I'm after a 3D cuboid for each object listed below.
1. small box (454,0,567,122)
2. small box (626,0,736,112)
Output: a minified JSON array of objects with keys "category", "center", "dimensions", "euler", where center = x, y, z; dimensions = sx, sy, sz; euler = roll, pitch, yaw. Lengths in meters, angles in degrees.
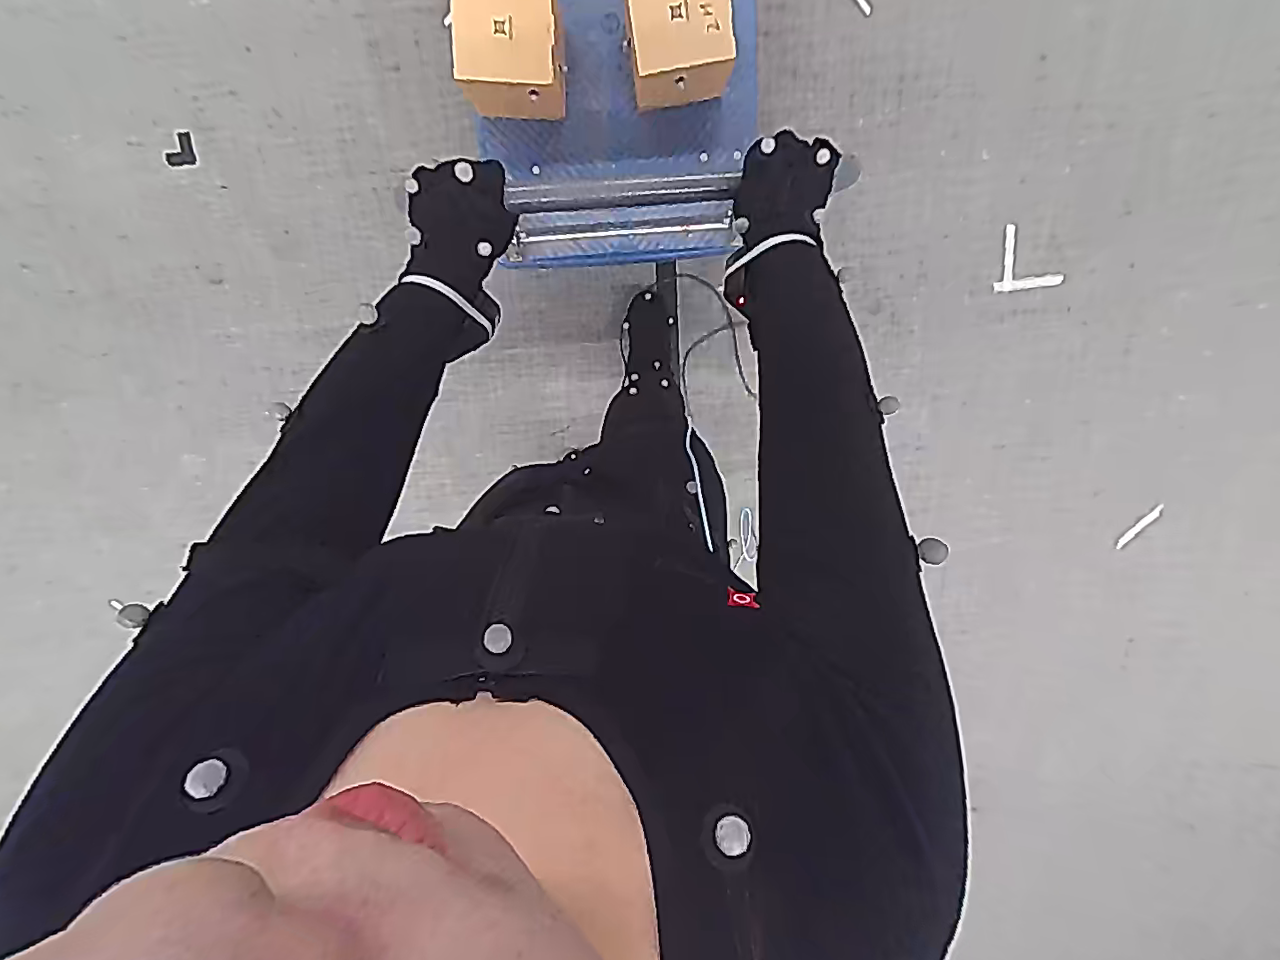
[{"category":"small box","center":[-0.234,-0.794,1.009],"dimensions":[0.179,0.176,0.168],"euler":[1,105,-3]},{"category":"small box","center":[0.071,-0.817,1.006],"dimensions":[0.179,0.176,0.168],"euler":[-9,106,2]}]
